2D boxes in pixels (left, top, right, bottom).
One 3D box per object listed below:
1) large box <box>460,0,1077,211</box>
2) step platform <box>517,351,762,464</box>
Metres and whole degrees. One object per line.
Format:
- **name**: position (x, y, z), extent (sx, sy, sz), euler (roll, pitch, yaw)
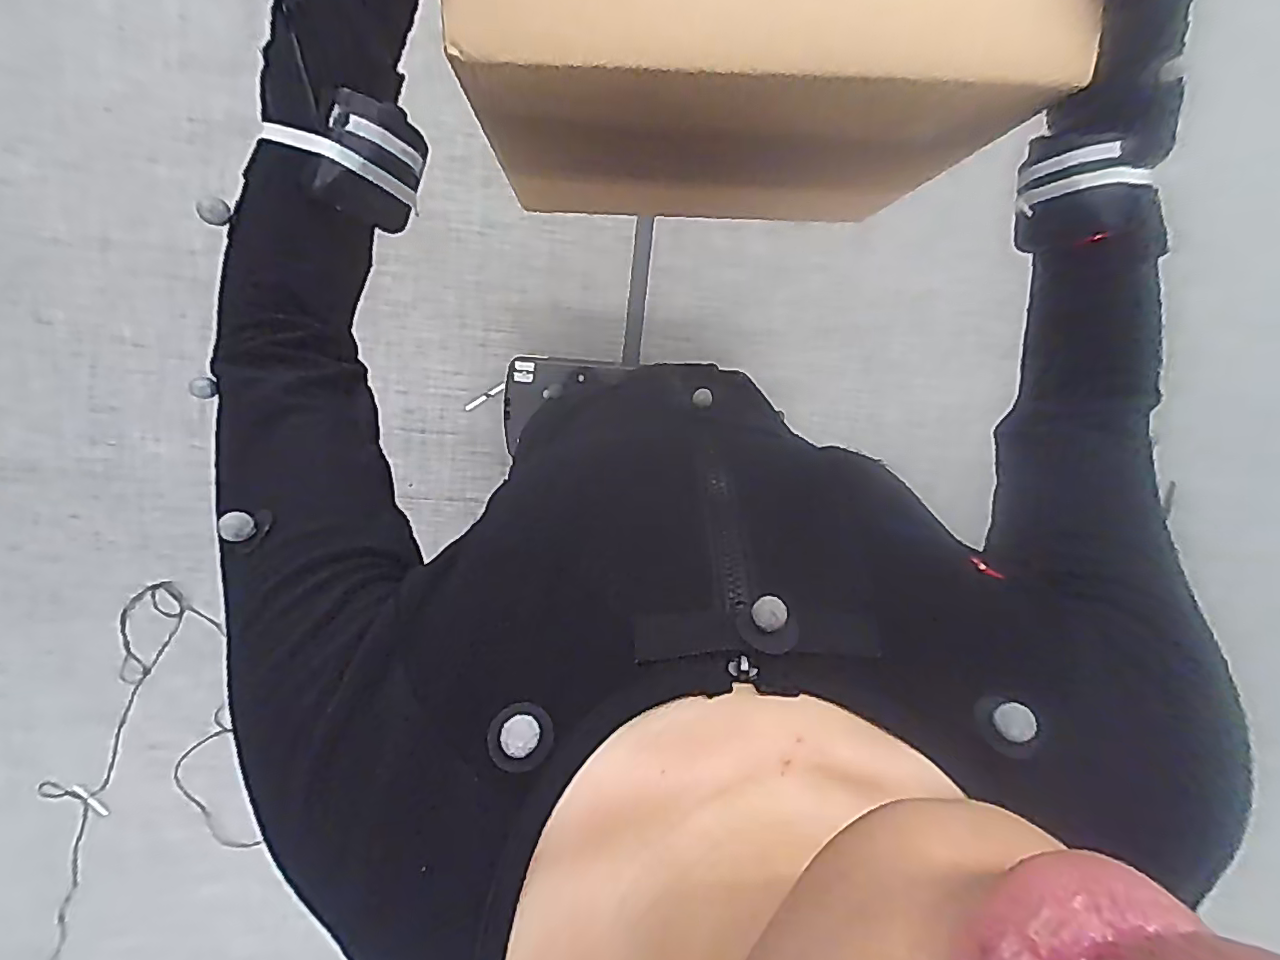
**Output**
- **large box**: position (0.074, -0.440, 0.464), extent (0.408, 0.320, 0.320), euler (-1, 101, -4)
- **step platform**: position (-0.002, -0.205, 1.546), extent (0.684, 0.204, 0.286), euler (2, 101, -5)
